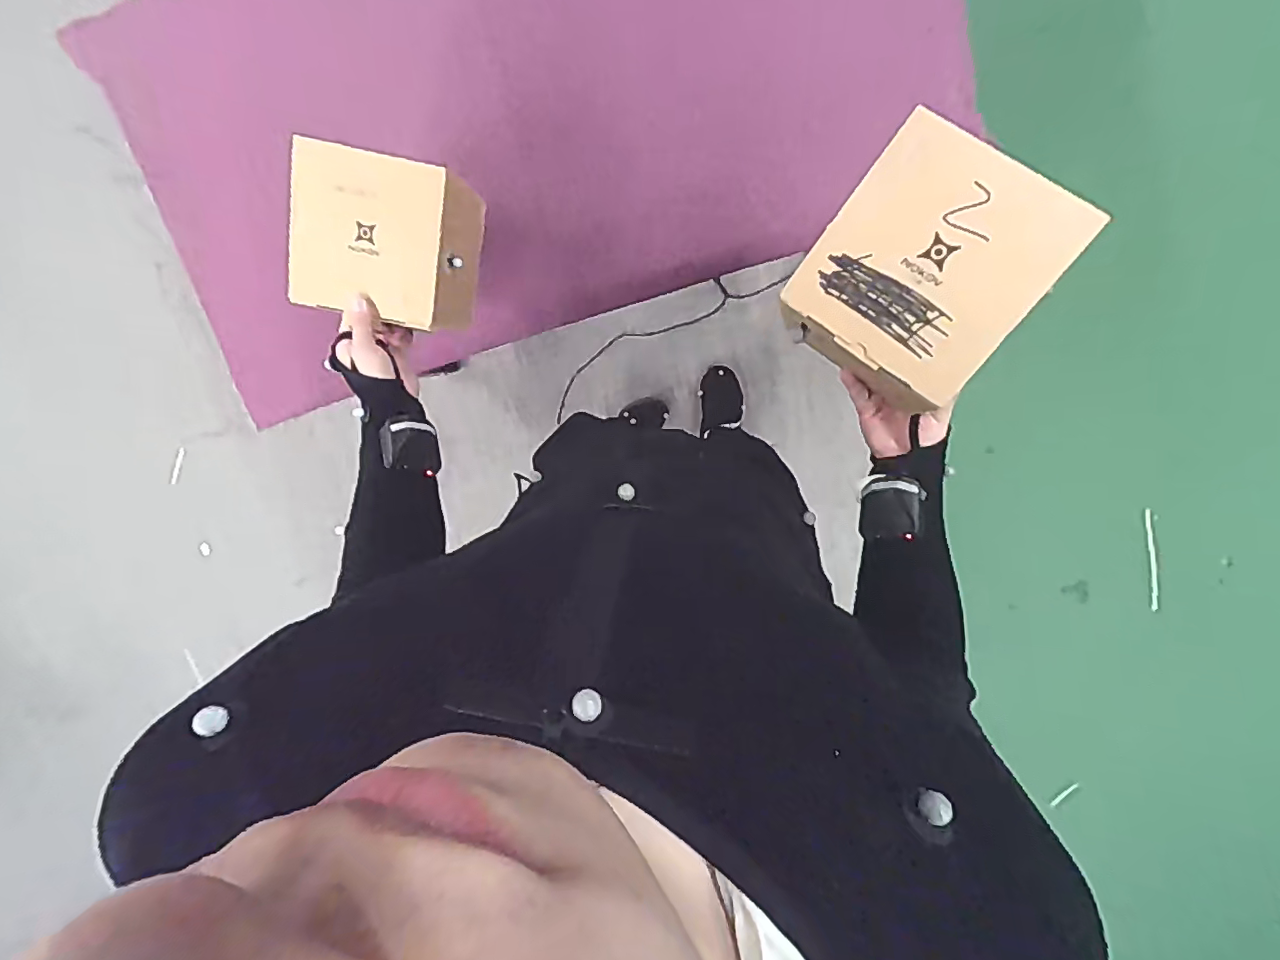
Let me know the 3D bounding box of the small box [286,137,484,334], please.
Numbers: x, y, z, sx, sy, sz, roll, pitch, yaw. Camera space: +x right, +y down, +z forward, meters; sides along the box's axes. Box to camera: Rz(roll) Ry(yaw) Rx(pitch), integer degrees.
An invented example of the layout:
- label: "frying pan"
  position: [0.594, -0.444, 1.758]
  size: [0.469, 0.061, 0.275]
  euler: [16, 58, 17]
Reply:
- label: "small box"
  position: [-0.306, -0.288, 0.678]
  size: [0.168, 0.176, 0.179]
  euler: [12, 104, -3]
